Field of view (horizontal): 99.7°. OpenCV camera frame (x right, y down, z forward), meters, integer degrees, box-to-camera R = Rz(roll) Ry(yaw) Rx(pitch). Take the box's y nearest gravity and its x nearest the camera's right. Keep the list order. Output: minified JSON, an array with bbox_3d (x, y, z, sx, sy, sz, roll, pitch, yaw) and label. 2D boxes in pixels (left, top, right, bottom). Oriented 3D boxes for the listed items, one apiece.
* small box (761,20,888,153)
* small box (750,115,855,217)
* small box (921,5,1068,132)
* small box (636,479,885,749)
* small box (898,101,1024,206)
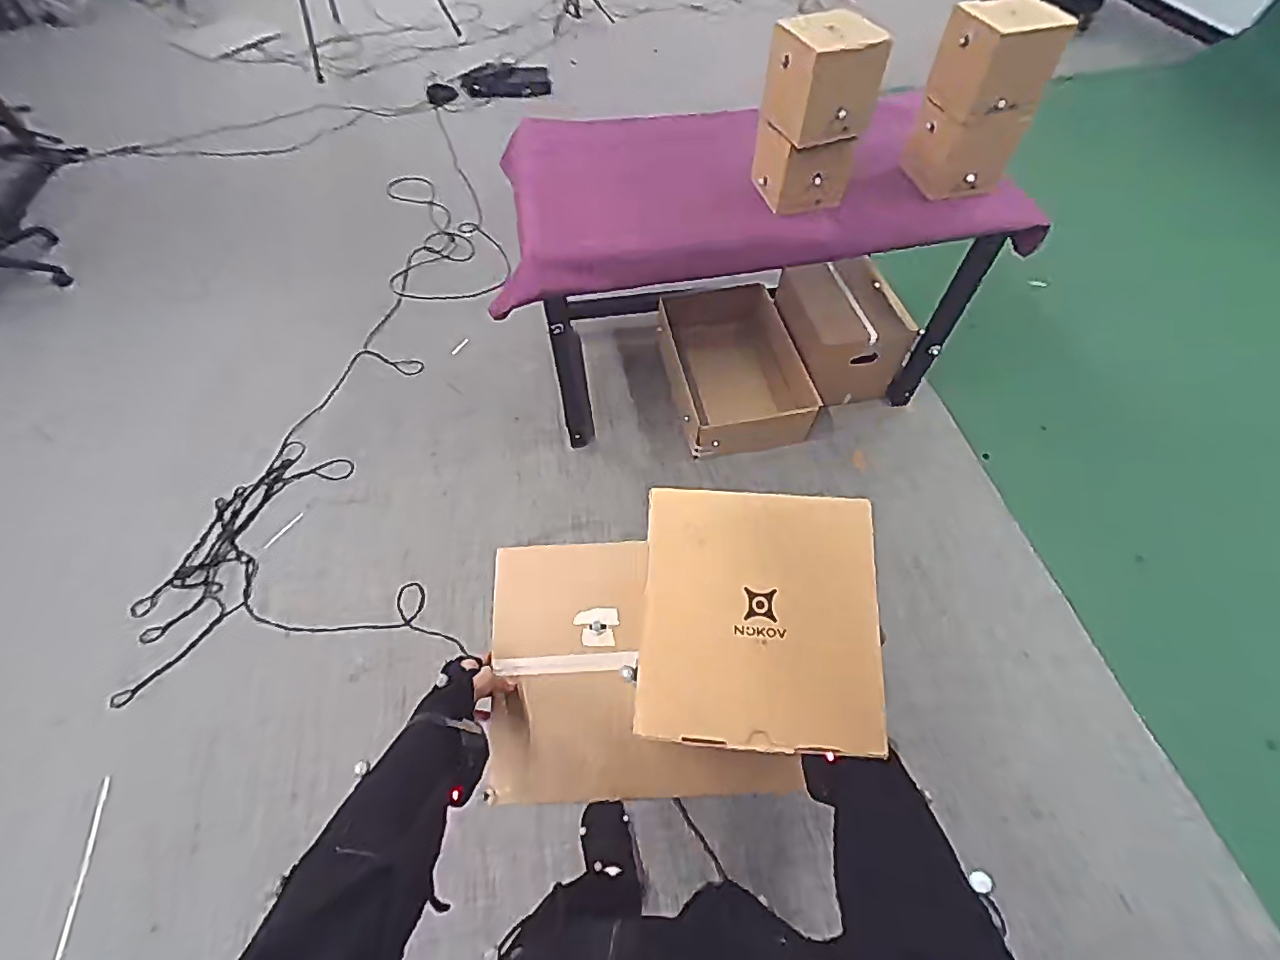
[{"bbox_3d":[0.368,-0.812,1.120,0.168,0.176,0.179,-18,58,-9],"label":"small box"},{"bbox_3d":[0.373,-0.741,1.271,0.168,0.176,0.179,-12,57,-7],"label":"small box"},{"bbox_3d":[0.742,-0.877,1.158,0.168,0.176,0.179,-11,56,-5],"label":"small box"},{"bbox_3d":[0.085,0.112,0.454,0.168,0.176,0.179,3,72,3],"label":"small box"},{"bbox_3d":[0.751,-0.786,1.293,0.168,0.176,0.179,-9,57,-4],"label":"small box"}]
